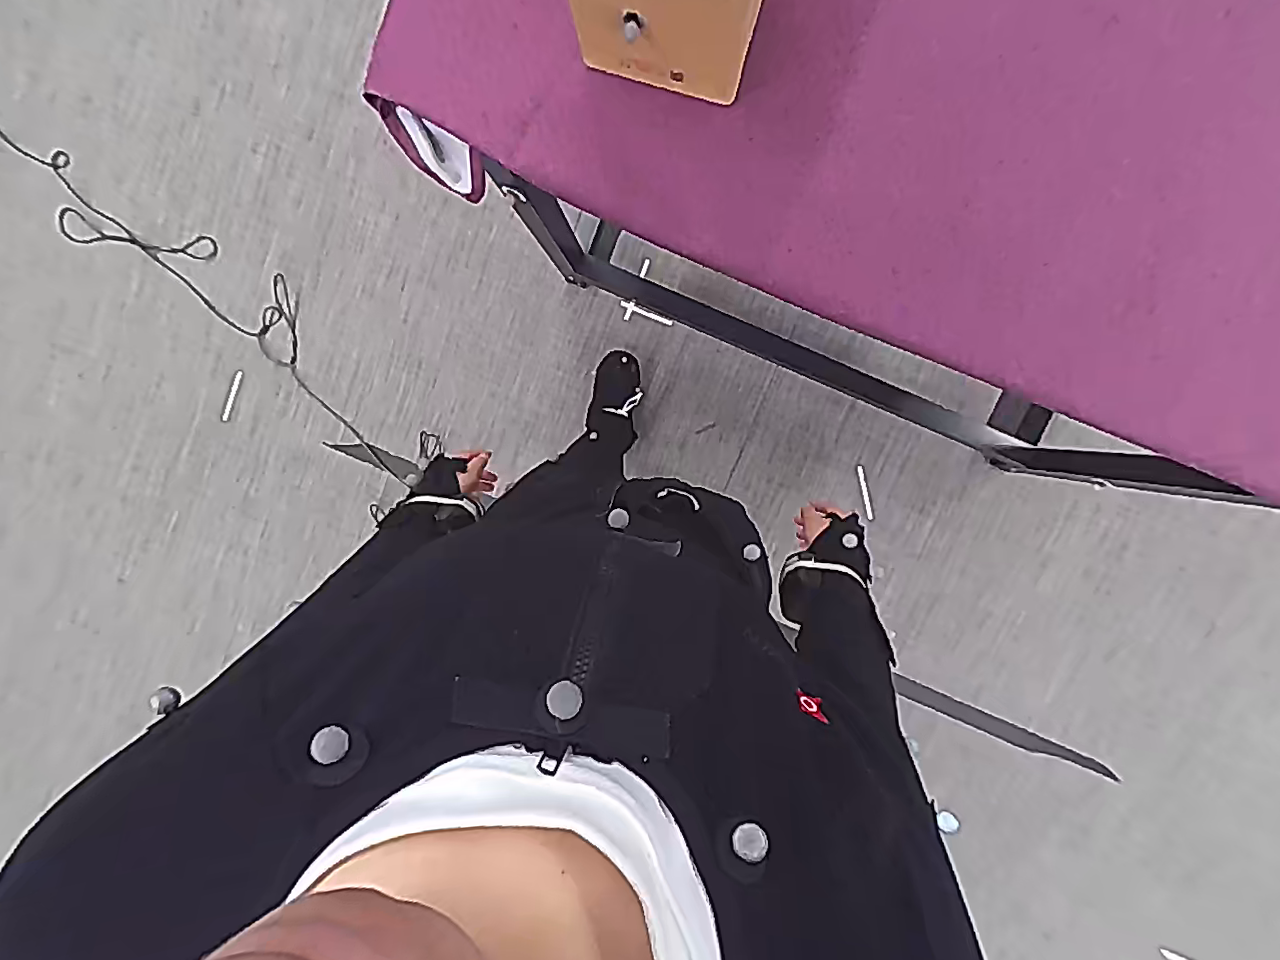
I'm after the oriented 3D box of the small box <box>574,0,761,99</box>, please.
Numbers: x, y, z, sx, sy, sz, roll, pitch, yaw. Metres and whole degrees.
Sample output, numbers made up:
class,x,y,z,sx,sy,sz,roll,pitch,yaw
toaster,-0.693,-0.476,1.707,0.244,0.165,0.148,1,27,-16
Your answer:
class,x,y,z,sx,sy,sz,roll,pitch,yaw
small box,0.039,-0.499,0.496,0.168,0.176,0.179,16,96,1
